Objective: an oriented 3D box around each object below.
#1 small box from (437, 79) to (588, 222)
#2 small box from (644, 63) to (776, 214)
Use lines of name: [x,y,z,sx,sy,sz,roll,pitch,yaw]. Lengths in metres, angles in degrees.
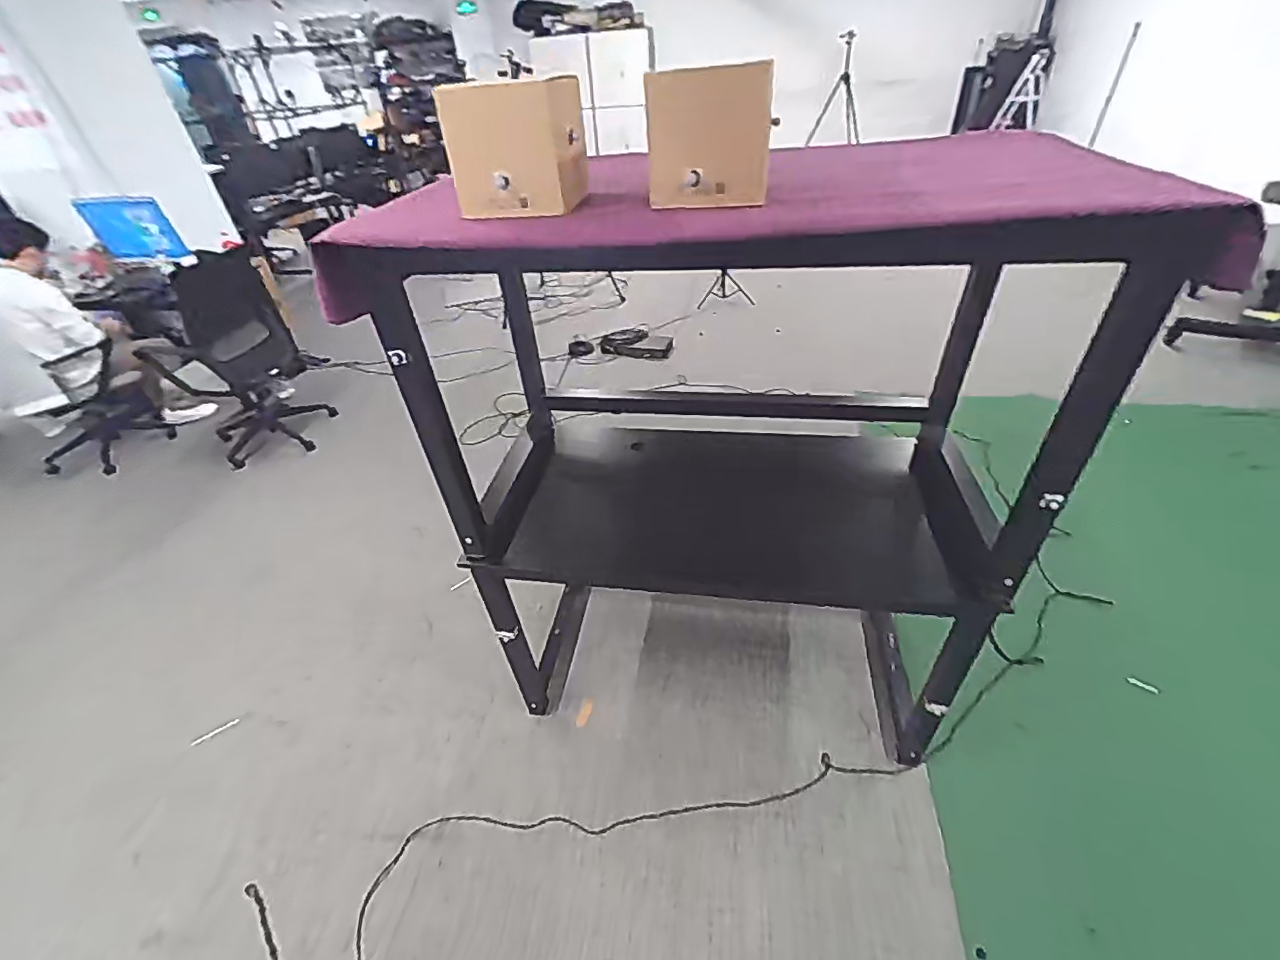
small box: [-0.181,-0.509,0.836,0.168,0.176,0.179,3,39,10]
small box: [0.107,-0.504,0.800,0.168,0.176,0.179,4,39,13]
